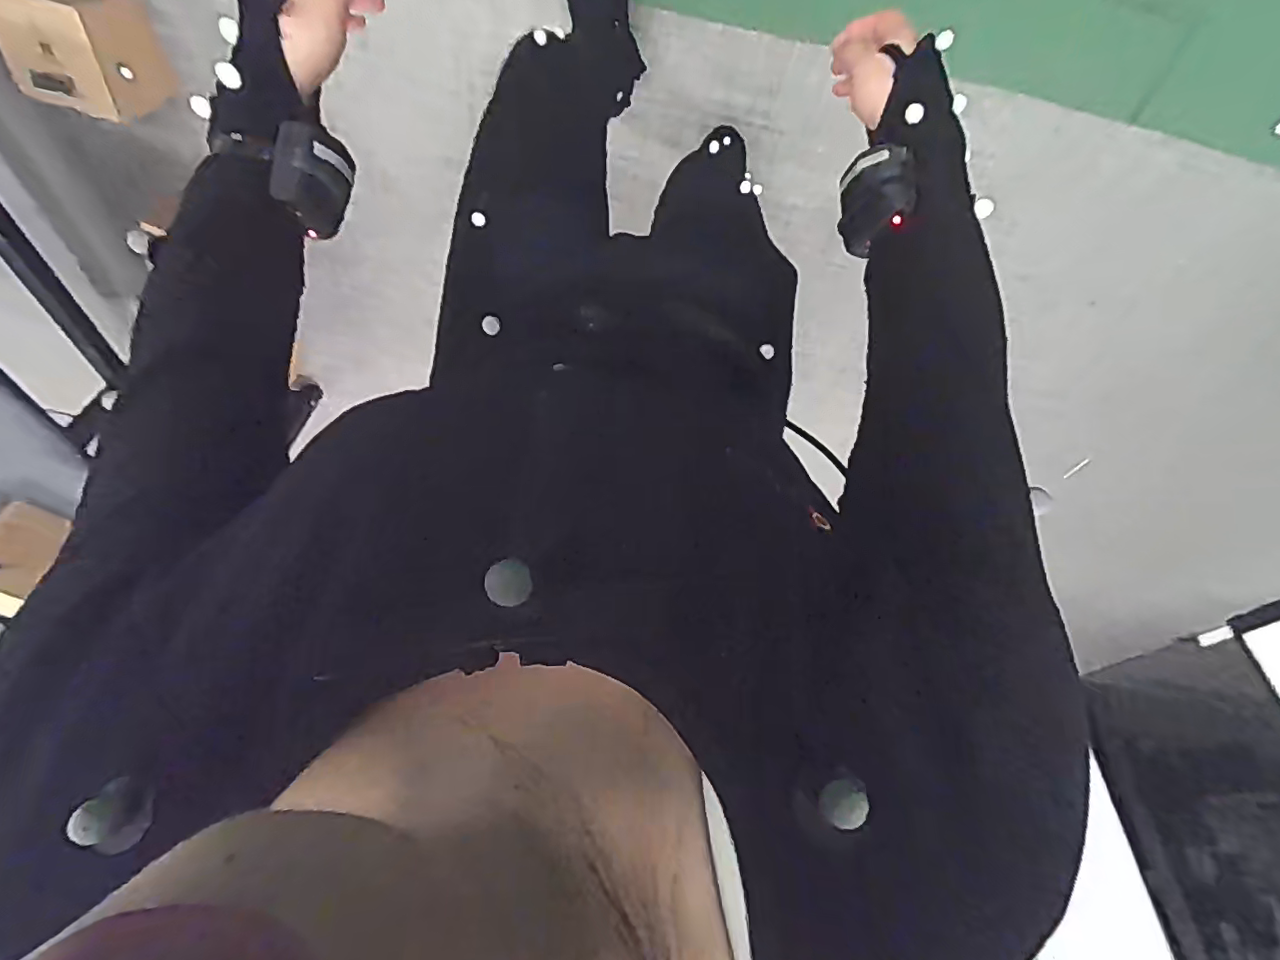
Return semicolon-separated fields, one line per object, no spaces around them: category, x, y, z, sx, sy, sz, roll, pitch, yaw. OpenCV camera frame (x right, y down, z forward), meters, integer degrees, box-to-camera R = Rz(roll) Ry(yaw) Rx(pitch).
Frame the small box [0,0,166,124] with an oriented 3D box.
small box;-1.016;-0.792;0.973;0.168;0.176;0.179;13;141;-10

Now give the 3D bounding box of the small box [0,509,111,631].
small box;-1.224;0.181;1.072;0.168;0.176;0.179;-17;137;27
